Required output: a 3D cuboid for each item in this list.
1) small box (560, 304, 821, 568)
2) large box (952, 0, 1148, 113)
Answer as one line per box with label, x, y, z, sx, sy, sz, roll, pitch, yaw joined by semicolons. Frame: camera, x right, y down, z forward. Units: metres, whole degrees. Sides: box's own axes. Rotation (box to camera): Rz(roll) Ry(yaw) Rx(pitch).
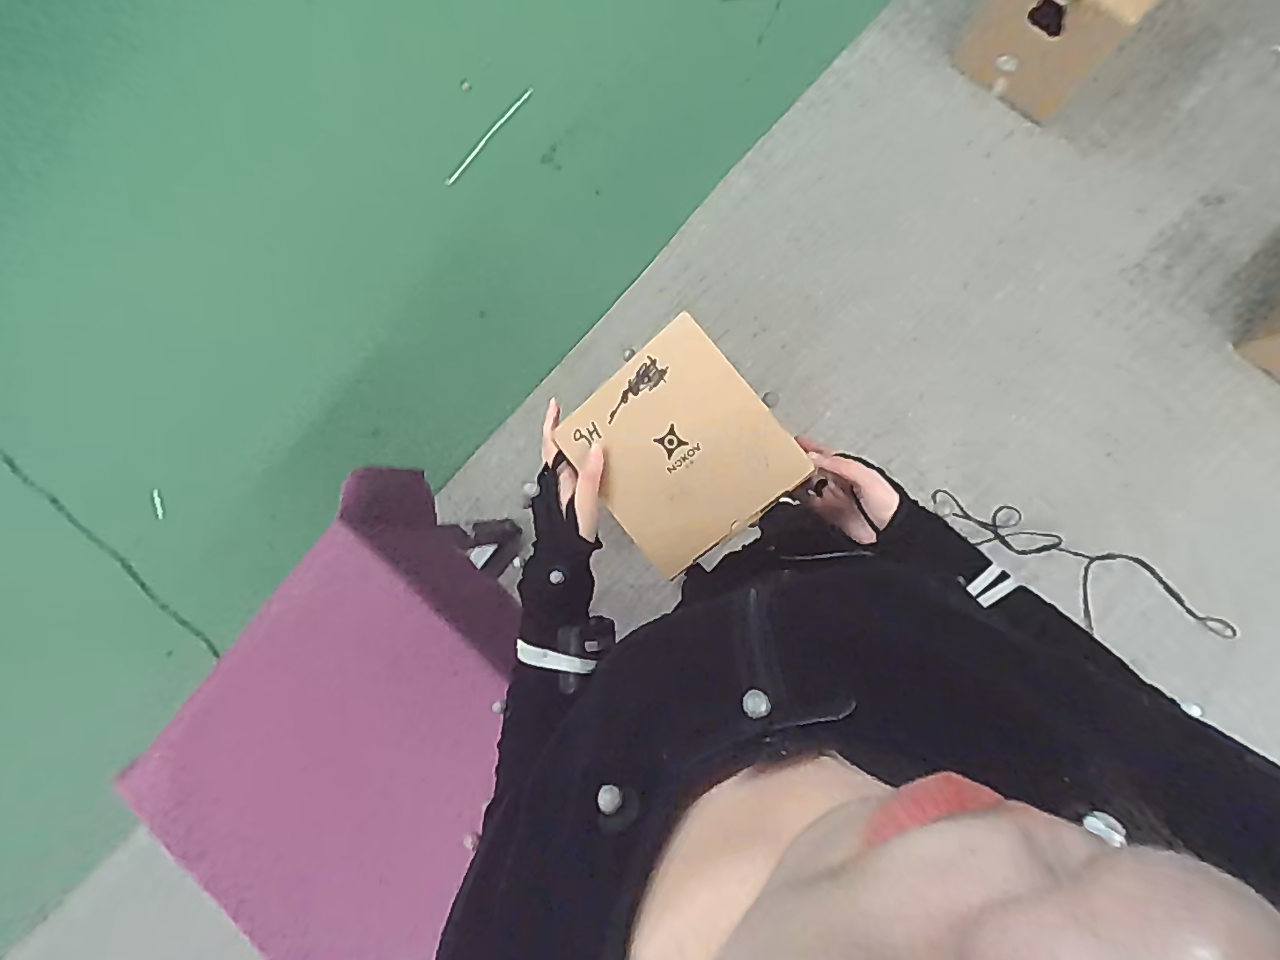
small box;0.058;-0.046;0.545;0.168;0.176;0.179;-39;87;15
large box;1.049;-1.201;1.273;0.320;0.320;0.408;42;93;7
